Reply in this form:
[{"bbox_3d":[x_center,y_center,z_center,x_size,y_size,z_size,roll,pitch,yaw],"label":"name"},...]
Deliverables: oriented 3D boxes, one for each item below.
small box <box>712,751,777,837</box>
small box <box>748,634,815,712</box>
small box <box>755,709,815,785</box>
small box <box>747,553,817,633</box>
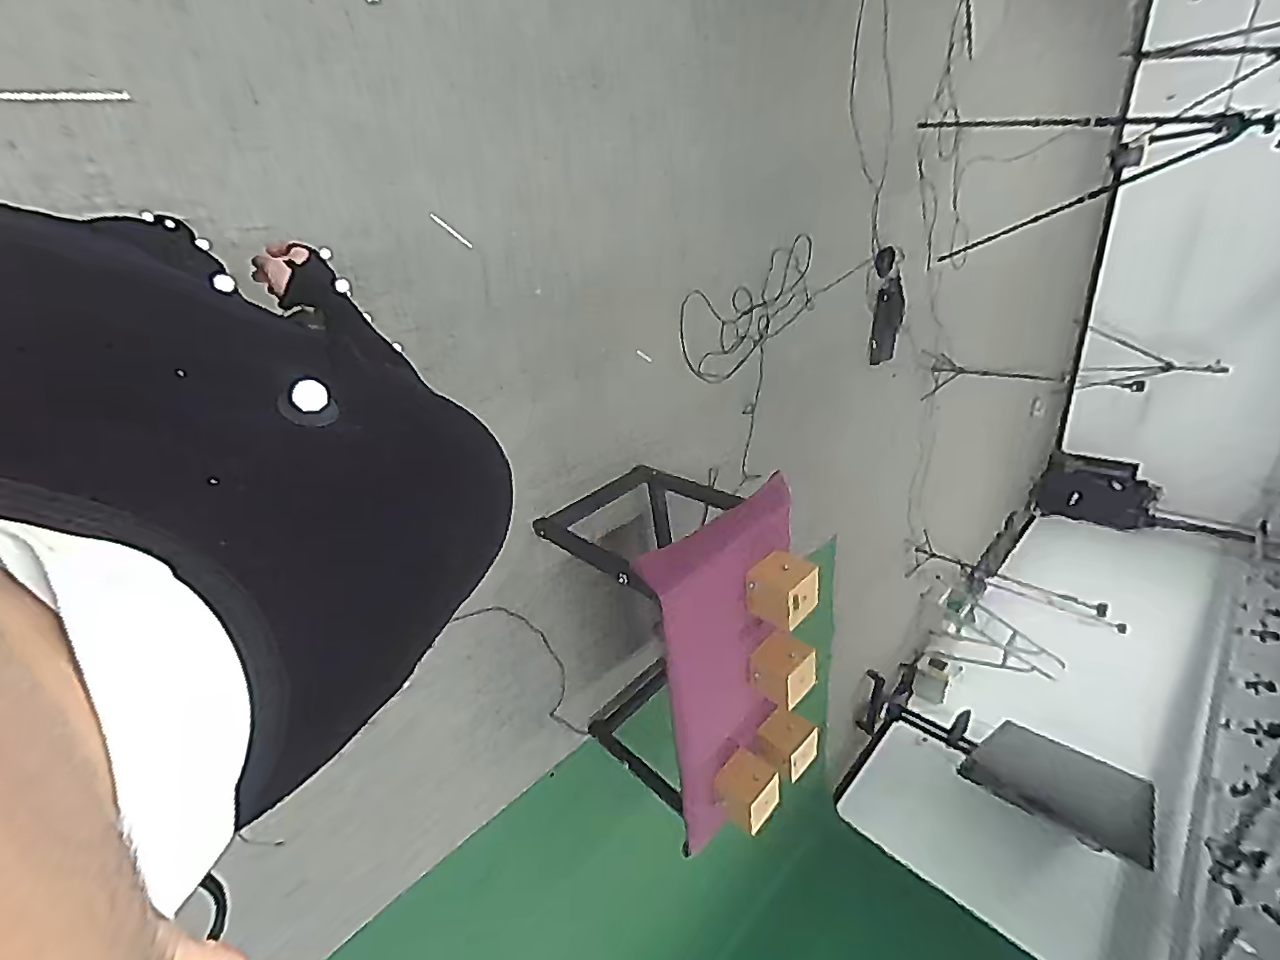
[{"bbox_3d":[0.384,1.143,1.983,0.179,0.176,0.168,-27,120,-37],"label":"small box"},{"bbox_3d":[0.512,0.691,1.960,0.179,0.176,0.168,-26,120,-35],"label":"small box"},{"bbox_3d":[0.573,1.048,2.138,0.179,0.176,0.168,-28,121,-35],"label":"small box"},{"bbox_3d":[0.472,0.370,1.807,0.179,0.176,0.168,-29,123,-35],"label":"small box"}]
